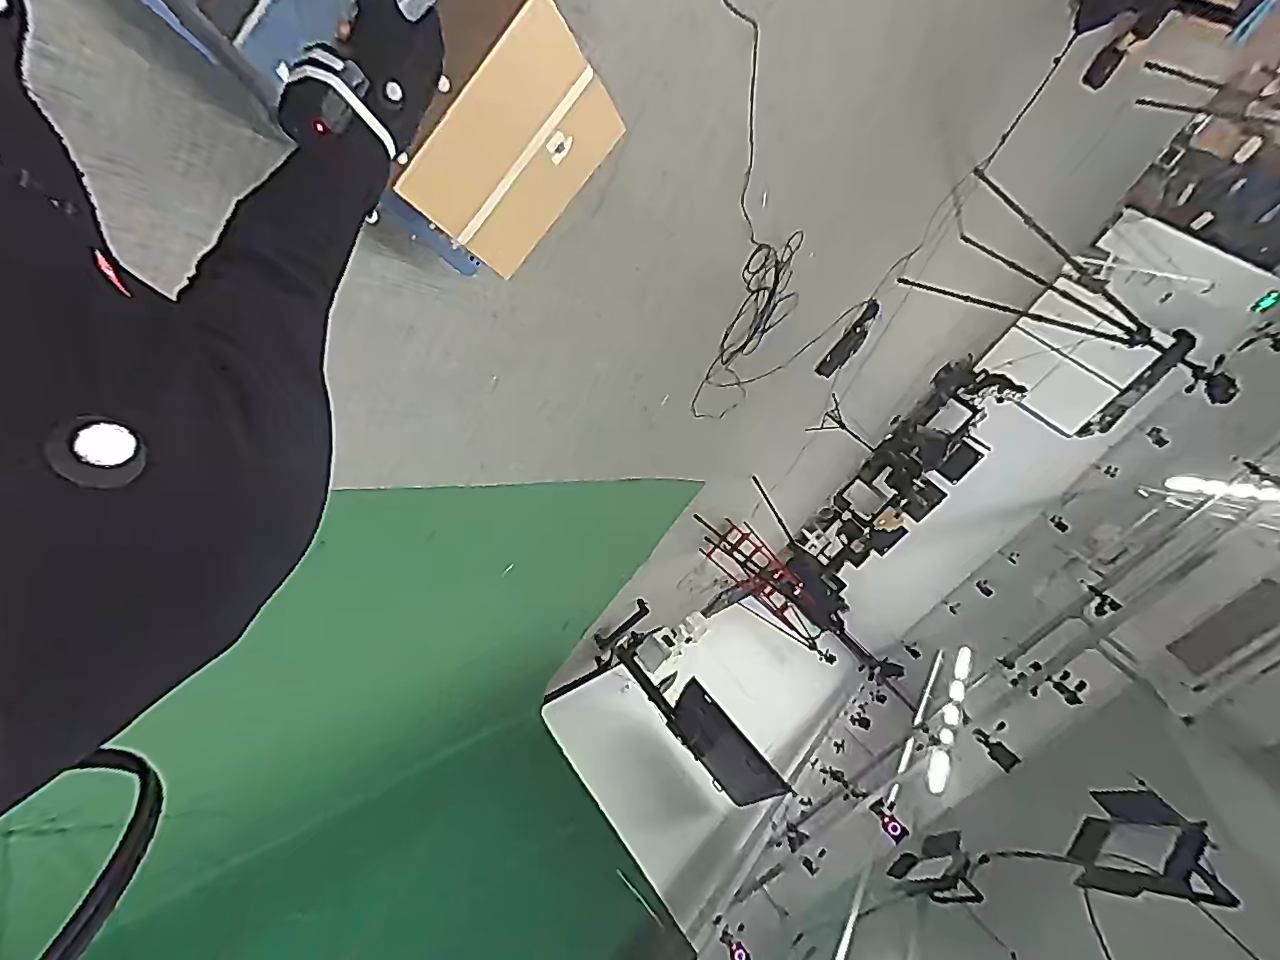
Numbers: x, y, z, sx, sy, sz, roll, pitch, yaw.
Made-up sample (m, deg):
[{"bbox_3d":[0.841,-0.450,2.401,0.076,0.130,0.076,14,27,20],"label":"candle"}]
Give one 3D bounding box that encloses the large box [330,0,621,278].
[{"bbox_3d":[-0.322,-0.706,1.077,0.408,0.320,0.320,-49,156,10],"label":"large box"}]
